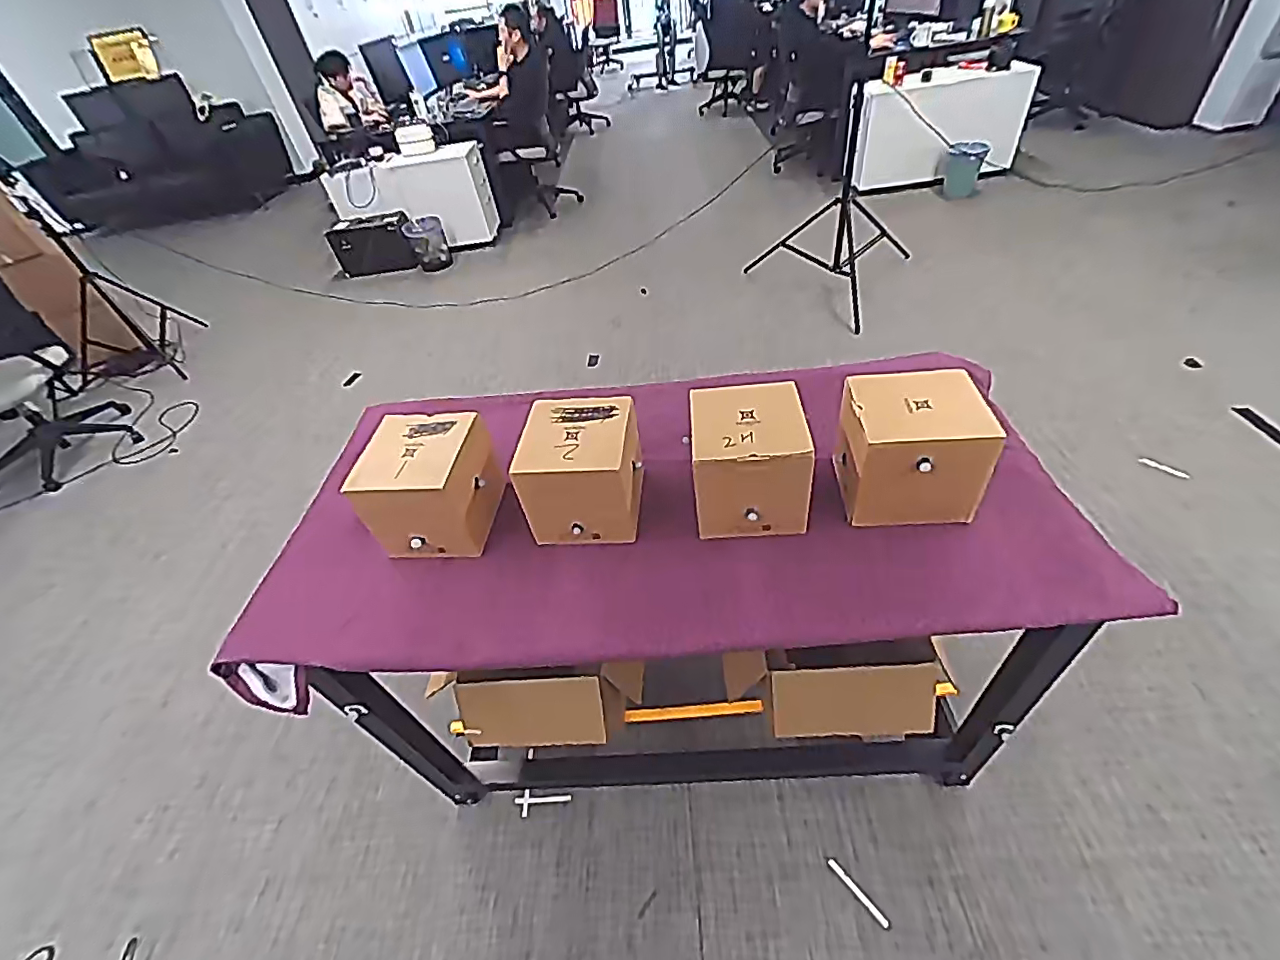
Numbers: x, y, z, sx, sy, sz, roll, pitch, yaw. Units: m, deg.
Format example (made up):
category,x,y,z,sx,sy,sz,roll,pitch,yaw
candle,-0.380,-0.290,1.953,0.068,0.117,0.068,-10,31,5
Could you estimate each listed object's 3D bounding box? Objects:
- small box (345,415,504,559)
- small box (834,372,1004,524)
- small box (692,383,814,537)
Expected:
category,x,y,z,sx,sy,sz,roll,pitch,yaw
small box,-0.341,0.011,0.899,0.168,0.176,0.179,-1,46,9
small box,0.408,-0.046,0.827,0.179,0.176,0.168,-3,43,9
small box,0.169,-0.030,0.853,0.168,0.176,0.179,-4,43,7
